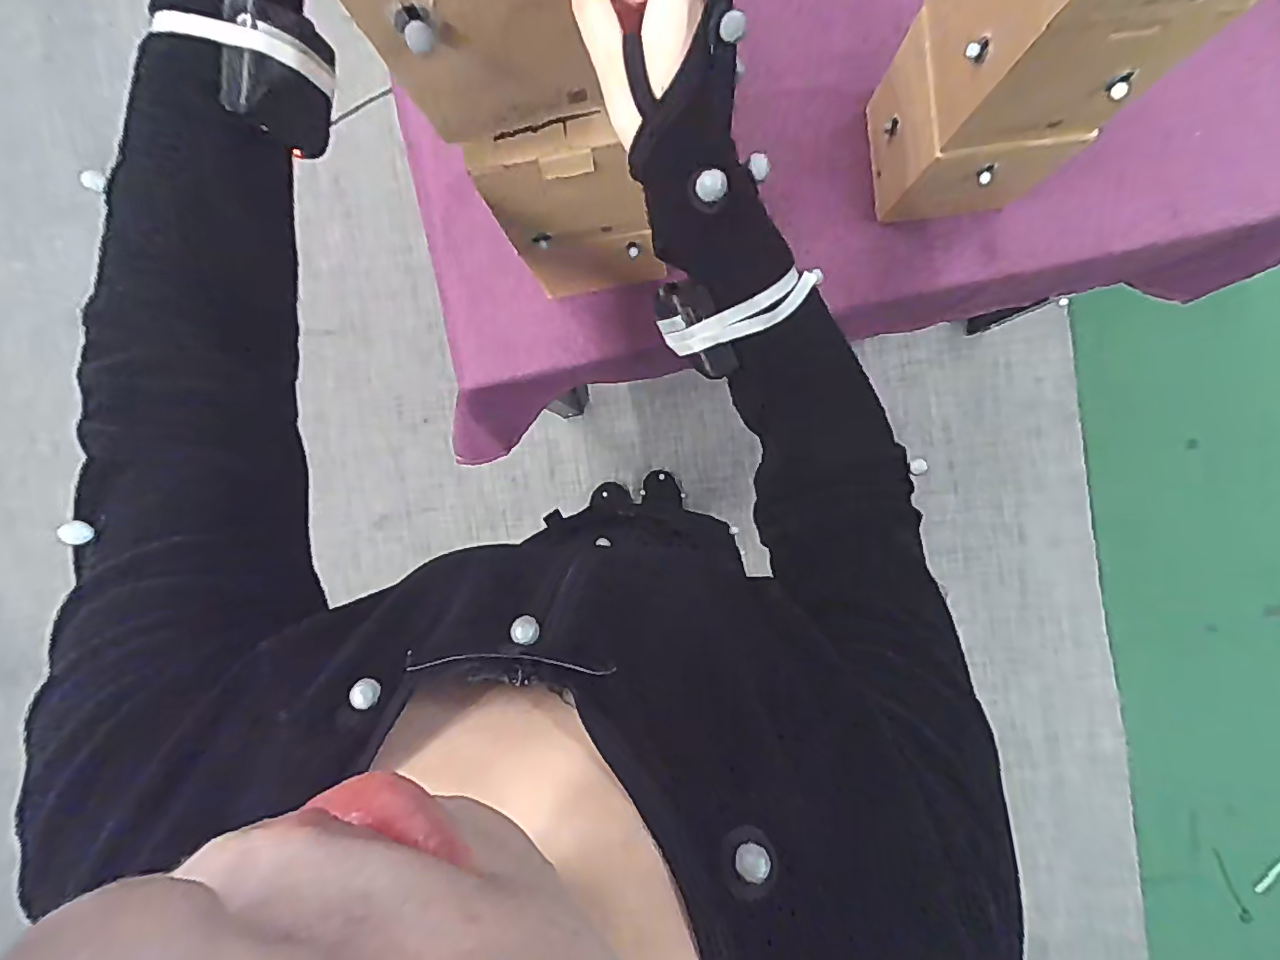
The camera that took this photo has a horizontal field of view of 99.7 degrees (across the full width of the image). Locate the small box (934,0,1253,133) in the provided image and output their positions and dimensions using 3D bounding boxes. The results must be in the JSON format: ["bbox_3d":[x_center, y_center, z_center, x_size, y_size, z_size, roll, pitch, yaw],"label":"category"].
[{"bbox_3d":[0.395,-0.451,0.495,0.168,0.176,0.179,-5,91,3],"label":"small box"}]

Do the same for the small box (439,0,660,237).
[{"bbox_3d":[-0.074,-0.359,0.526,0.168,0.176,0.179,-10,90,3],"label":"small box"}]

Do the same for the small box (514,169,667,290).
[{"bbox_3d":[-0.063,-0.359,0.690,0.179,0.176,0.168,-10,91,3],"label":"small box"}]

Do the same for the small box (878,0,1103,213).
[{"bbox_3d":[0.405,-0.447,0.658,0.179,0.176,0.168,-5,92,3],"label":"small box"}]
